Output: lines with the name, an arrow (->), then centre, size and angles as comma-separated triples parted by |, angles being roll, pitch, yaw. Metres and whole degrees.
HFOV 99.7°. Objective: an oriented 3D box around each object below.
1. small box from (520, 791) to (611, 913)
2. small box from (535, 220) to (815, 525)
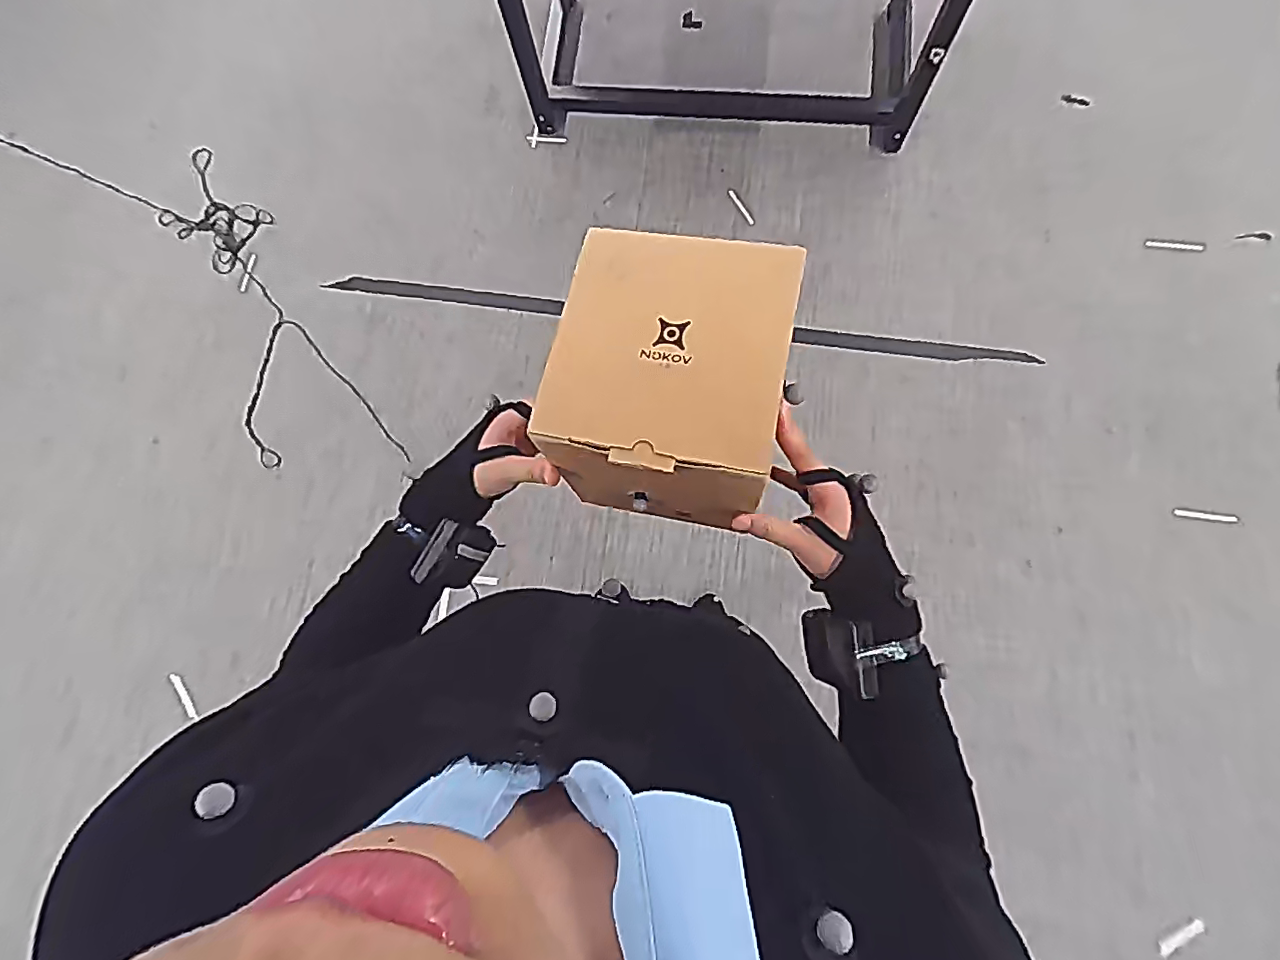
small box -> -0.171, 0.884, 1.306 | 0.168, 0.176, 0.179 | 11, 80, 7
small box -> 0.035, -0.076, 0.443 | 0.168, 0.176, 0.179 | 10, 75, 11
